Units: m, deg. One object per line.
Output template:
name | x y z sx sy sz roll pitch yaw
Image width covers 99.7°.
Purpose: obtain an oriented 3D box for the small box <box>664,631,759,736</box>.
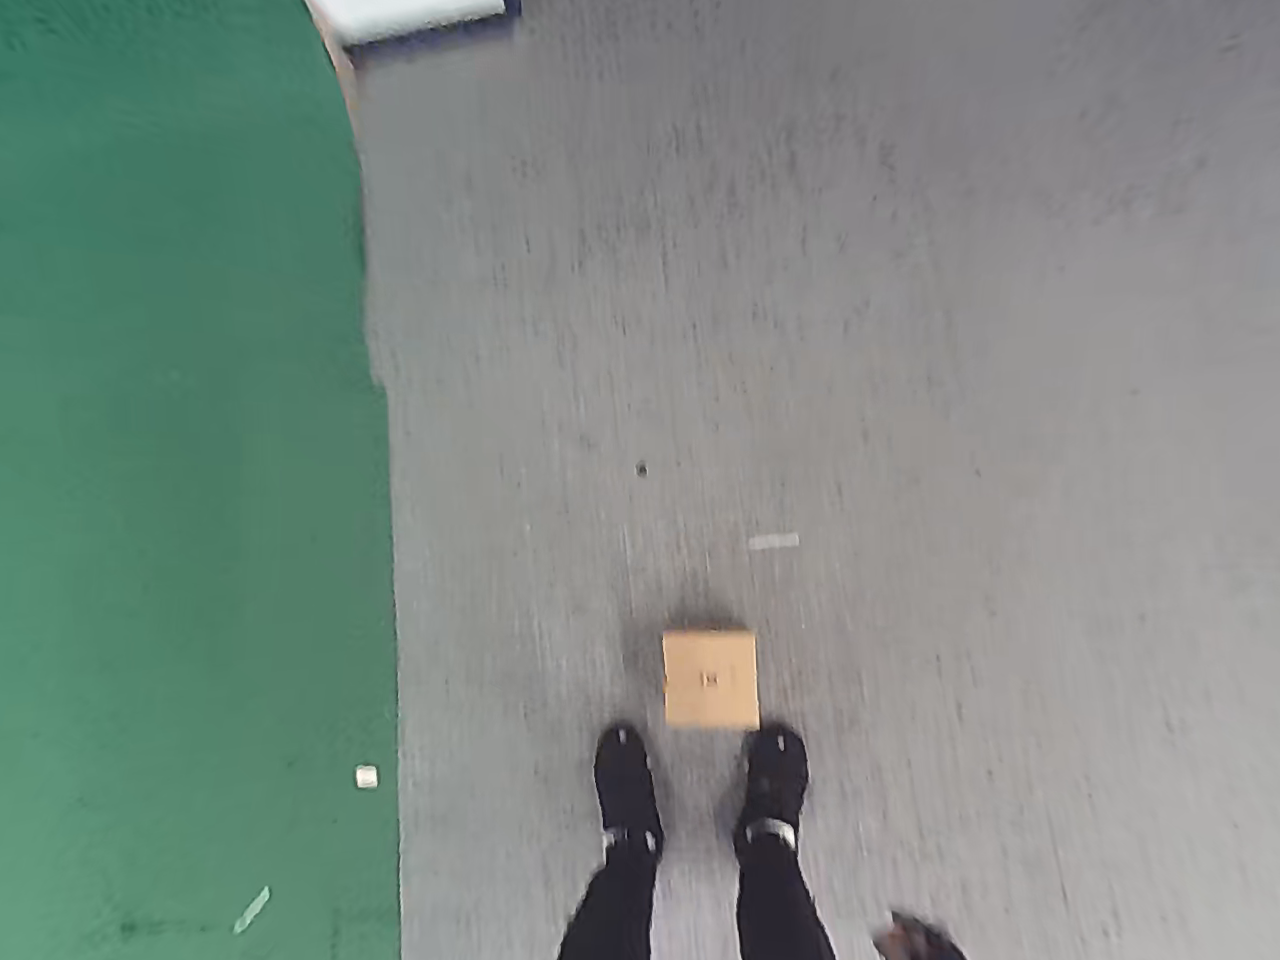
small box | 0.141 0.400 1.084 0.179 0.176 0.168 -1 81 5
